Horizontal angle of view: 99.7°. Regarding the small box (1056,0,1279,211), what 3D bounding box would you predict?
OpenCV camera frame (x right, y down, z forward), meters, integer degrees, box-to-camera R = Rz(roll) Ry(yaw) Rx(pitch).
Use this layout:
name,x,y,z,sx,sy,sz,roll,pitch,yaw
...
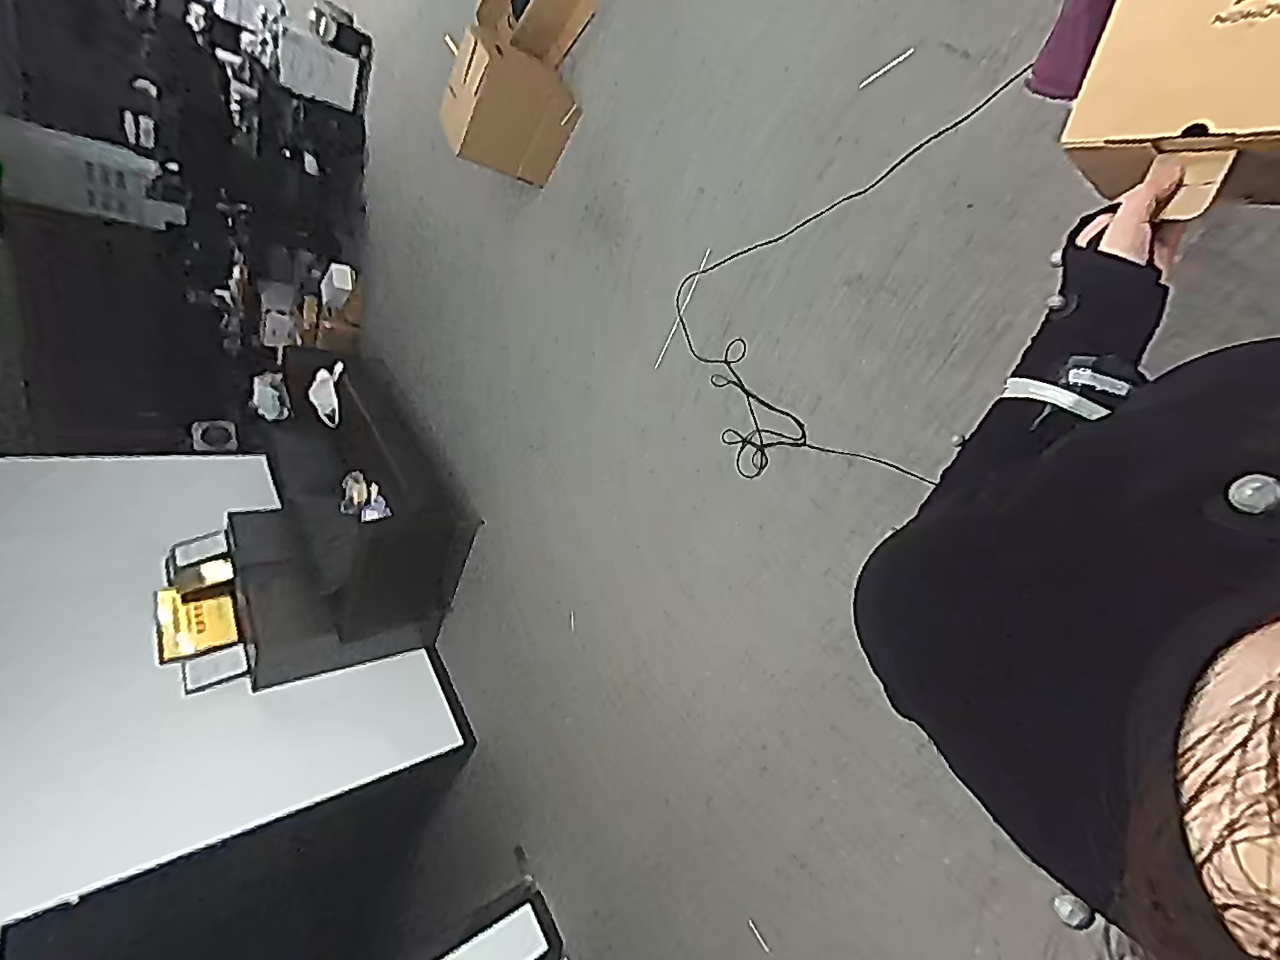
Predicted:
name,x,y,z,sx,sy,sz,roll,pitch,yaw
small box,0.471,-0.326,0.416,0.168,0.176,0.179,32,118,45
